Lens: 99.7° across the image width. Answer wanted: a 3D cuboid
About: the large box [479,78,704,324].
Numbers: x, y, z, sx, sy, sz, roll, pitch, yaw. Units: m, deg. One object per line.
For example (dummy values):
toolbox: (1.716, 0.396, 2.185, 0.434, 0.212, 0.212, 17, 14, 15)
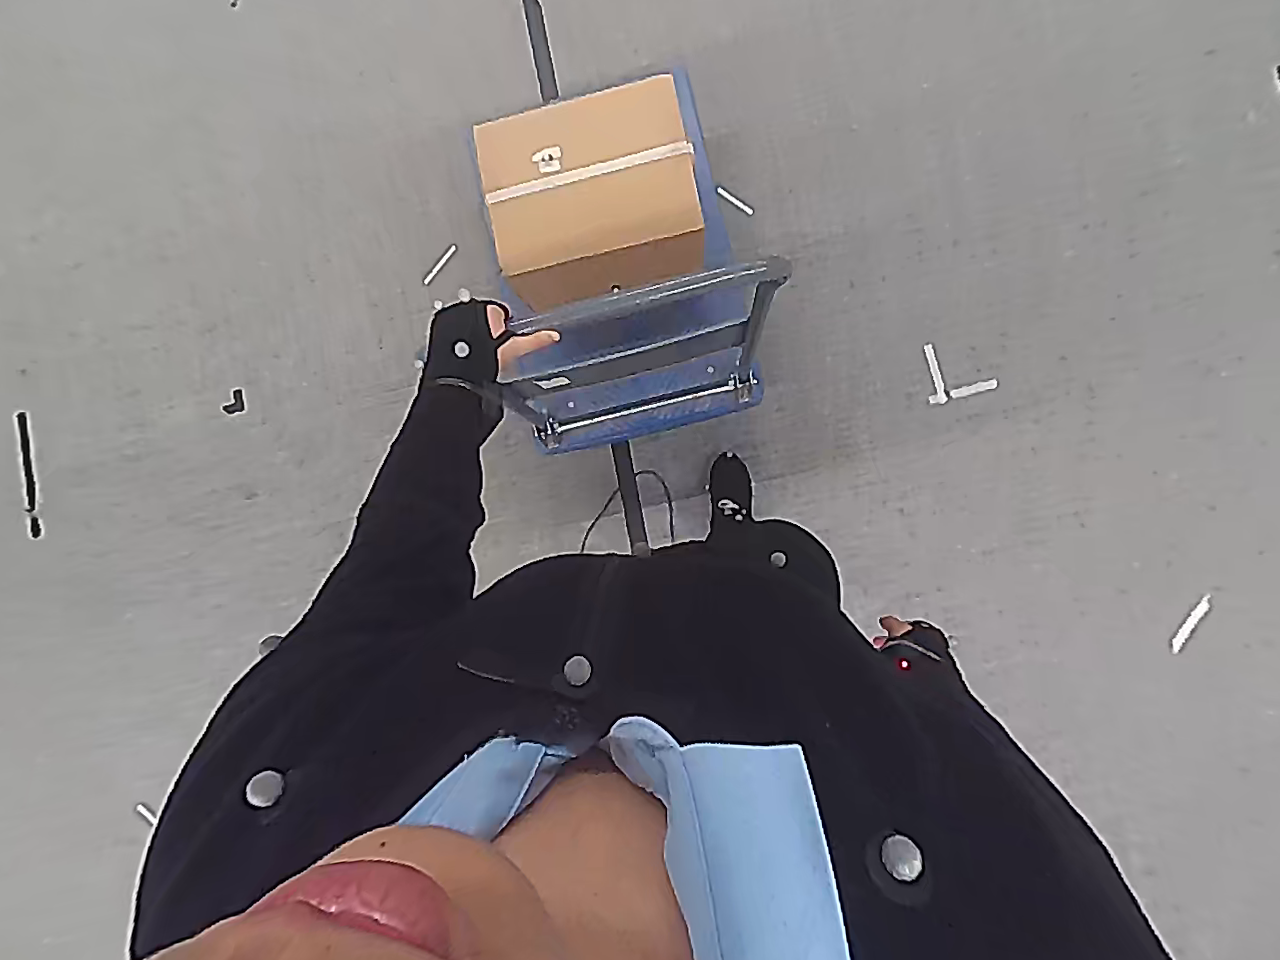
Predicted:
large box: (-0.085, -0.584, 1.206, 0.408, 0.320, 0.320, -12, 86, 7)
